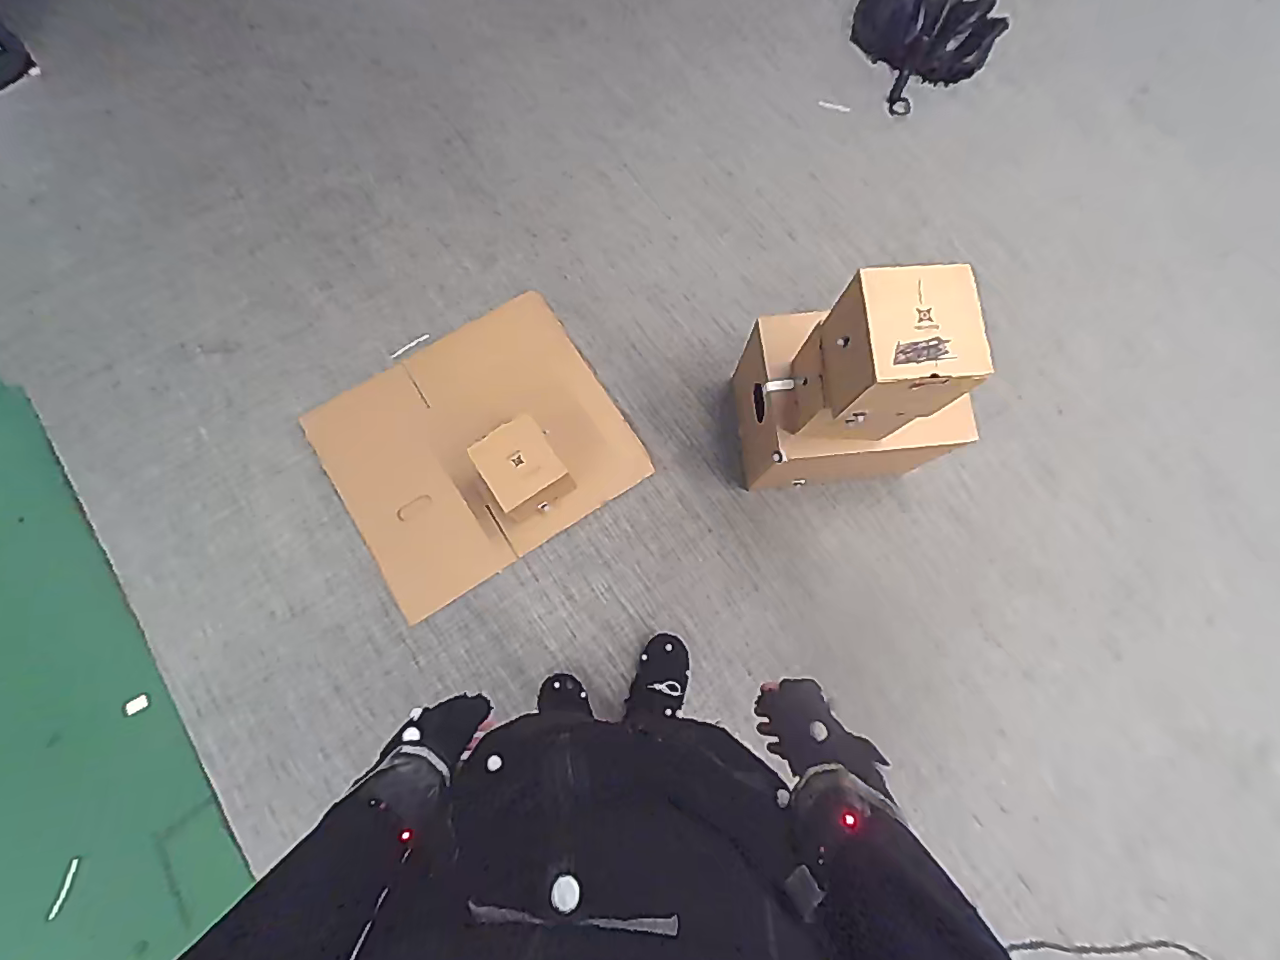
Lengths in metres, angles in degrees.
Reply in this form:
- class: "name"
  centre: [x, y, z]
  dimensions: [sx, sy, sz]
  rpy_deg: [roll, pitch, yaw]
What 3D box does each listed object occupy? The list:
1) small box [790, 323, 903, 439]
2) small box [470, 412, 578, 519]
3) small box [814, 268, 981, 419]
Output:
- class: "small box"
  centre: [0.388, -0.179, 1.013]
  dimensions: [0.179, 0.176, 0.168]
  rpy_deg: [0, 76, -1]
- class: "small box"
  centre: [-0.266, -0.026, 1.271]
  dimensions: [0.168, 0.176, 0.179]
  rpy_deg: [-34, 80, -5]
- class: "small box"
  centre: [0.389, -0.202, 0.847]
  dimensions: [0.168, 0.176, 0.179]
  rpy_deg: [-6, 79, -1]
